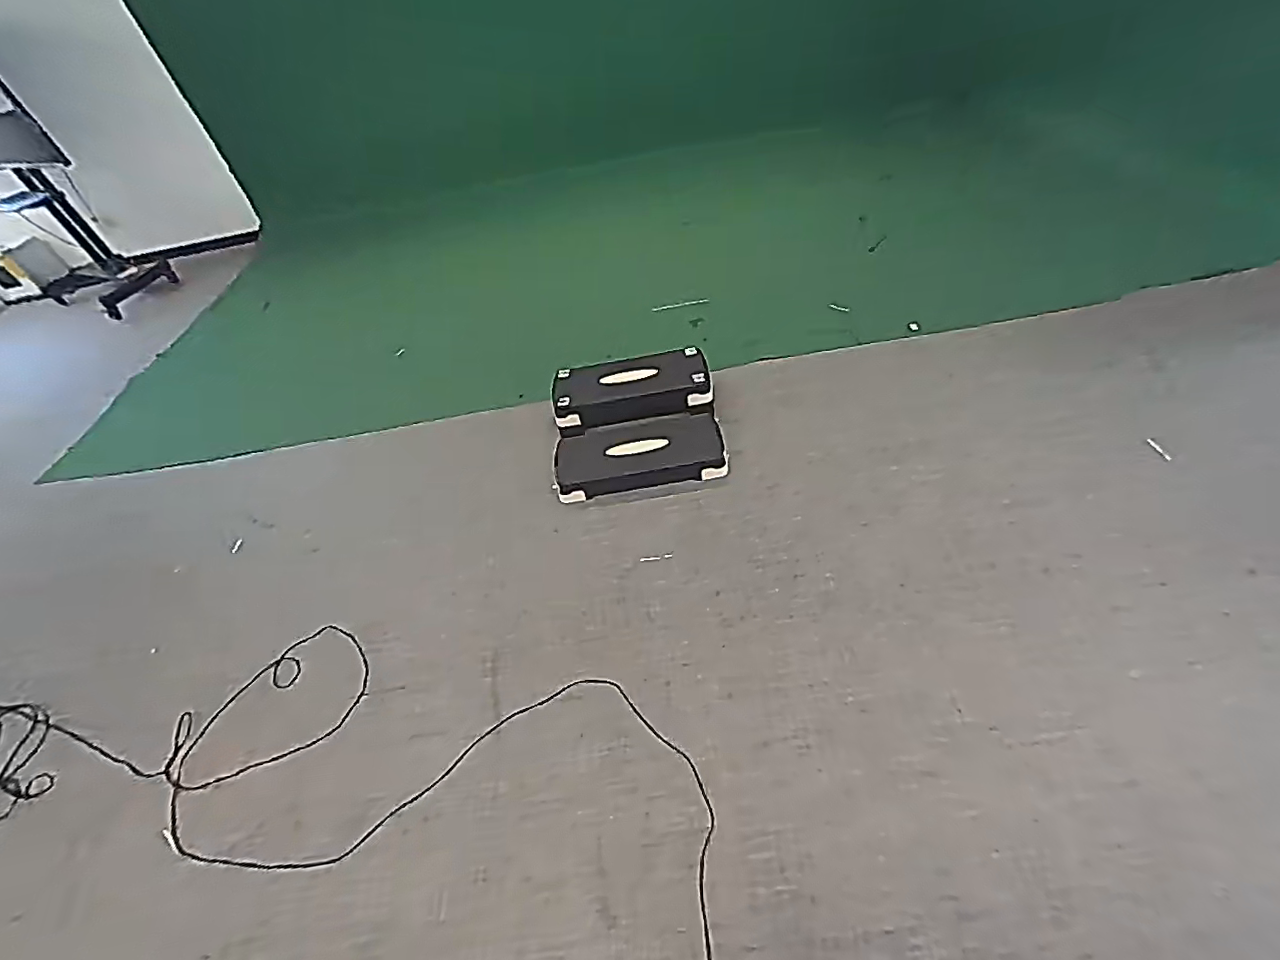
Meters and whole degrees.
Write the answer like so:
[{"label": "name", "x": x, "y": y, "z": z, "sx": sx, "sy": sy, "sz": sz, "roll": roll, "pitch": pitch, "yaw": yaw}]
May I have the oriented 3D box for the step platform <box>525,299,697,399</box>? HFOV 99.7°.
[{"label": "step platform", "x": -0.111, "y": -0.534, "z": 2.205, "sx": 0.684, "sy": 0.204, "sz": 0.286, "roll": -10, "pitch": 47, "yaw": 3}]
